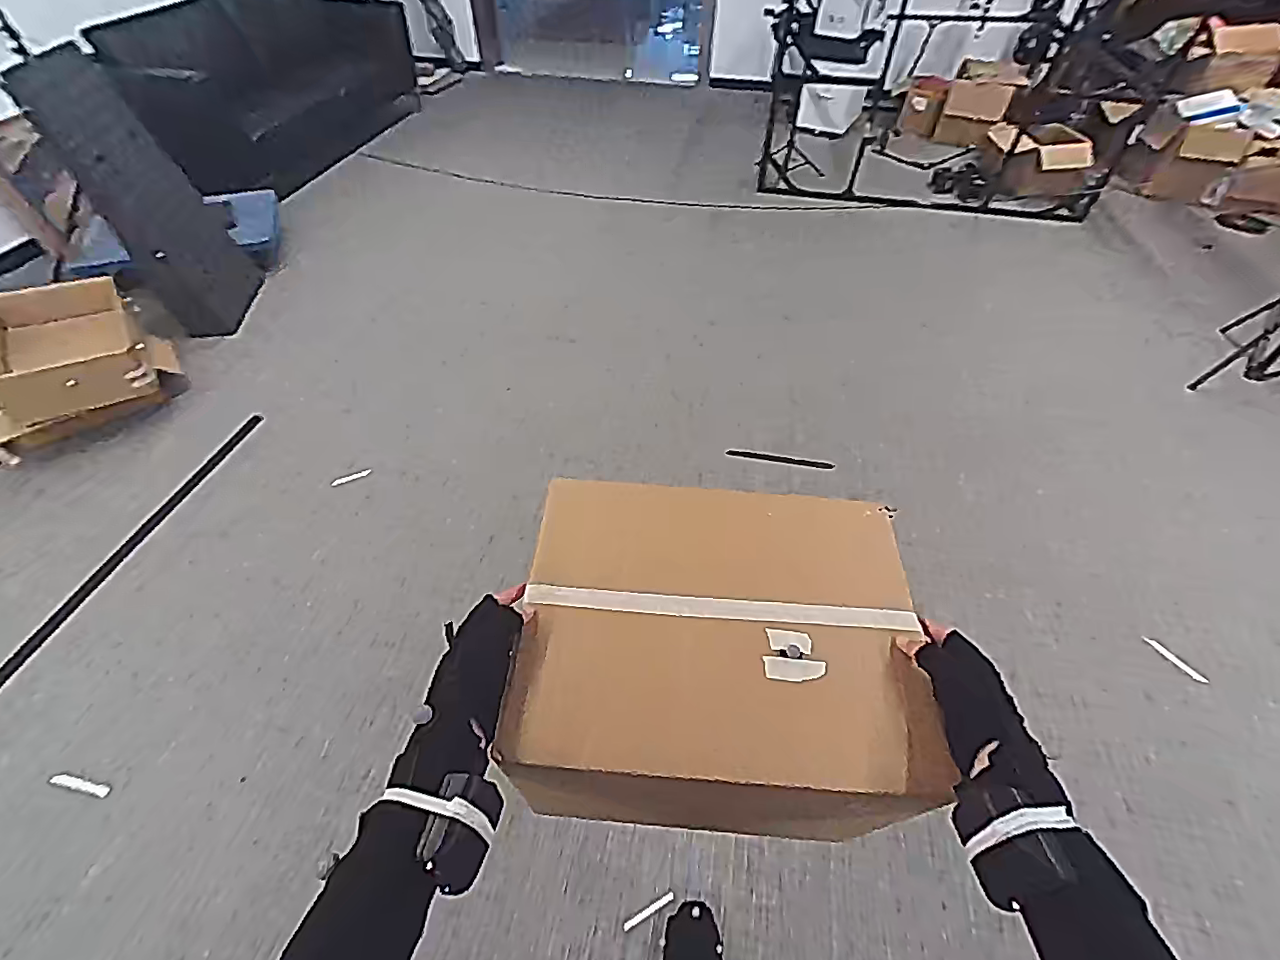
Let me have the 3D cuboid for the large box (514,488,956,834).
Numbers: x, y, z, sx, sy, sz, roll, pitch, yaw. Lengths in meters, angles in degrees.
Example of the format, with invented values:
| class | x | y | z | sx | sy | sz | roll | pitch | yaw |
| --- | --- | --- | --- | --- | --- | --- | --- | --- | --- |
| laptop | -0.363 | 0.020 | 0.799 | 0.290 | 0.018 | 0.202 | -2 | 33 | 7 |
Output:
| class | x | y | z | sx | sy | sz | roll | pitch | yaw |
| --- | --- | --- | --- | --- | --- | --- | --- | --- | --- |
| large box | 0.086 | 0.235 | 0.685 | 0.408 | 0.320 | 0.320 | 5 | 51 | 1 |
